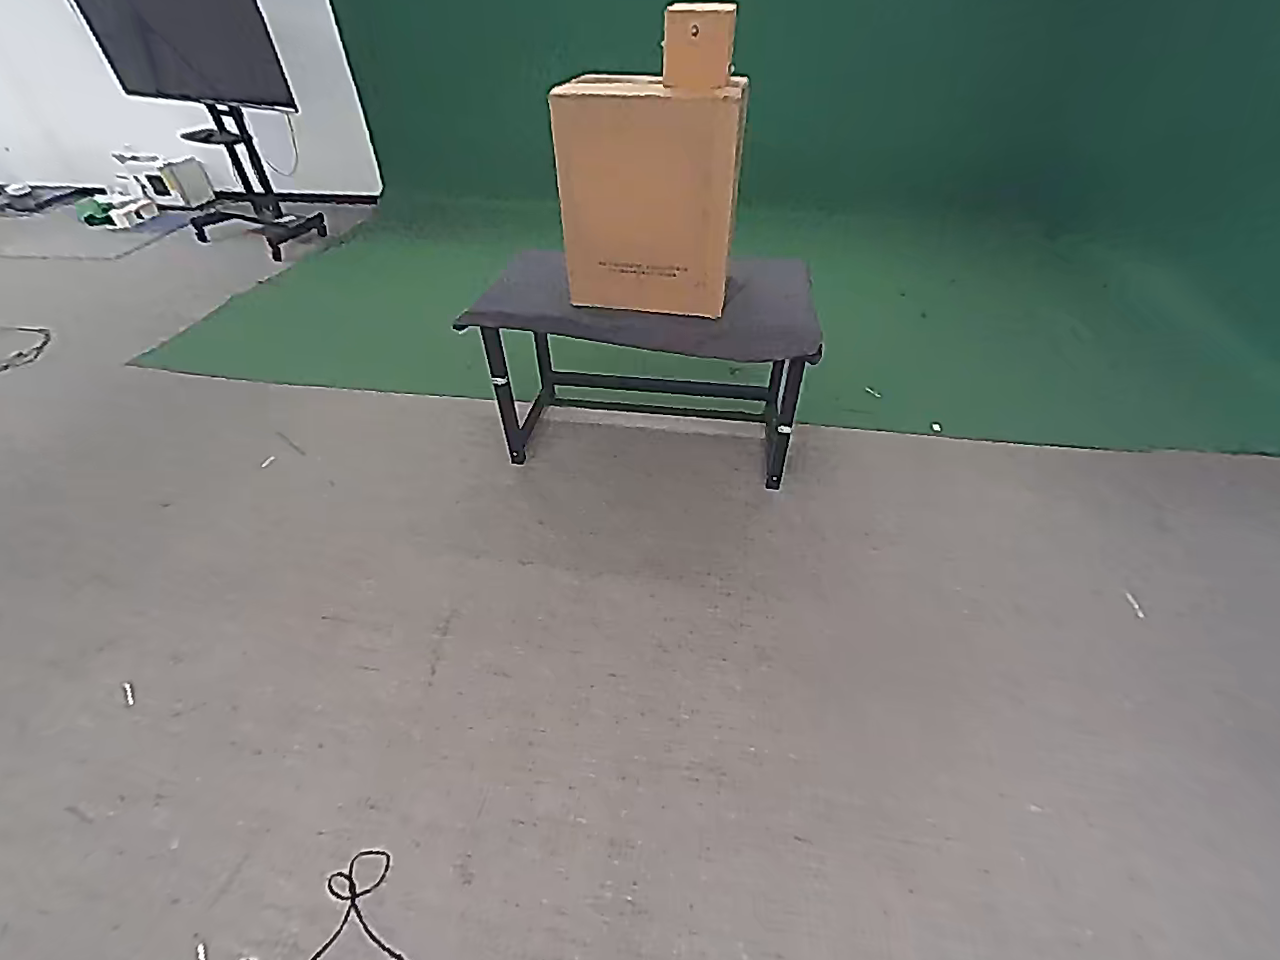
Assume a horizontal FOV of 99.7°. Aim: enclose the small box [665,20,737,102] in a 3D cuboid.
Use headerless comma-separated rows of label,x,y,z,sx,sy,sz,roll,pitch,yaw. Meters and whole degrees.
small box,0.169,-1.183,1.527,0.179,0.176,0.168,9,46,7
